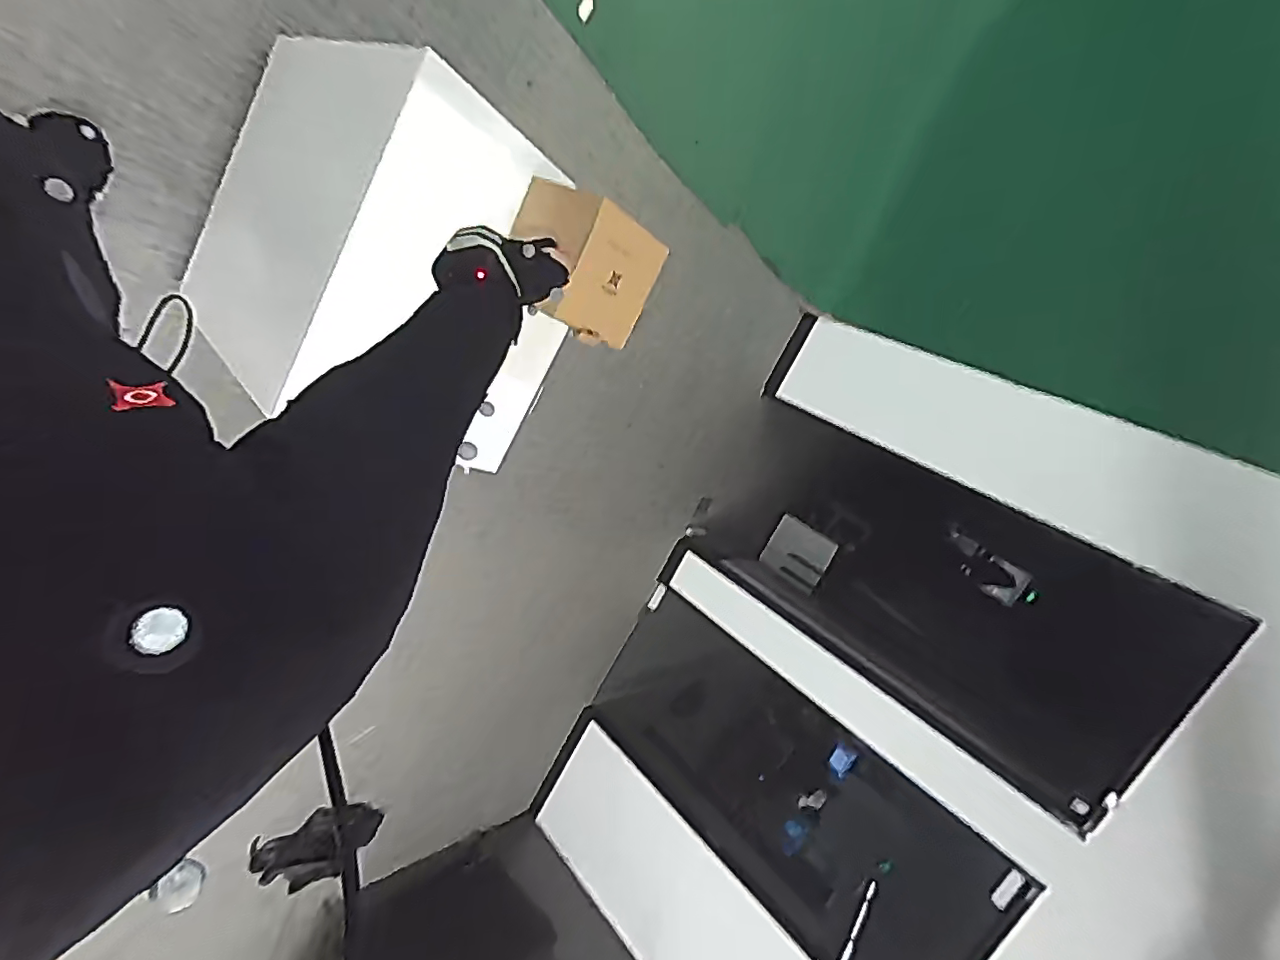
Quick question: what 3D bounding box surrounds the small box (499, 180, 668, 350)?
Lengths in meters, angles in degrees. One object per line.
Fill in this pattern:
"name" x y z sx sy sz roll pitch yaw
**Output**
"small box" -0.094 -0.333 0.845 0.168 0.176 0.179 8 112 -55
